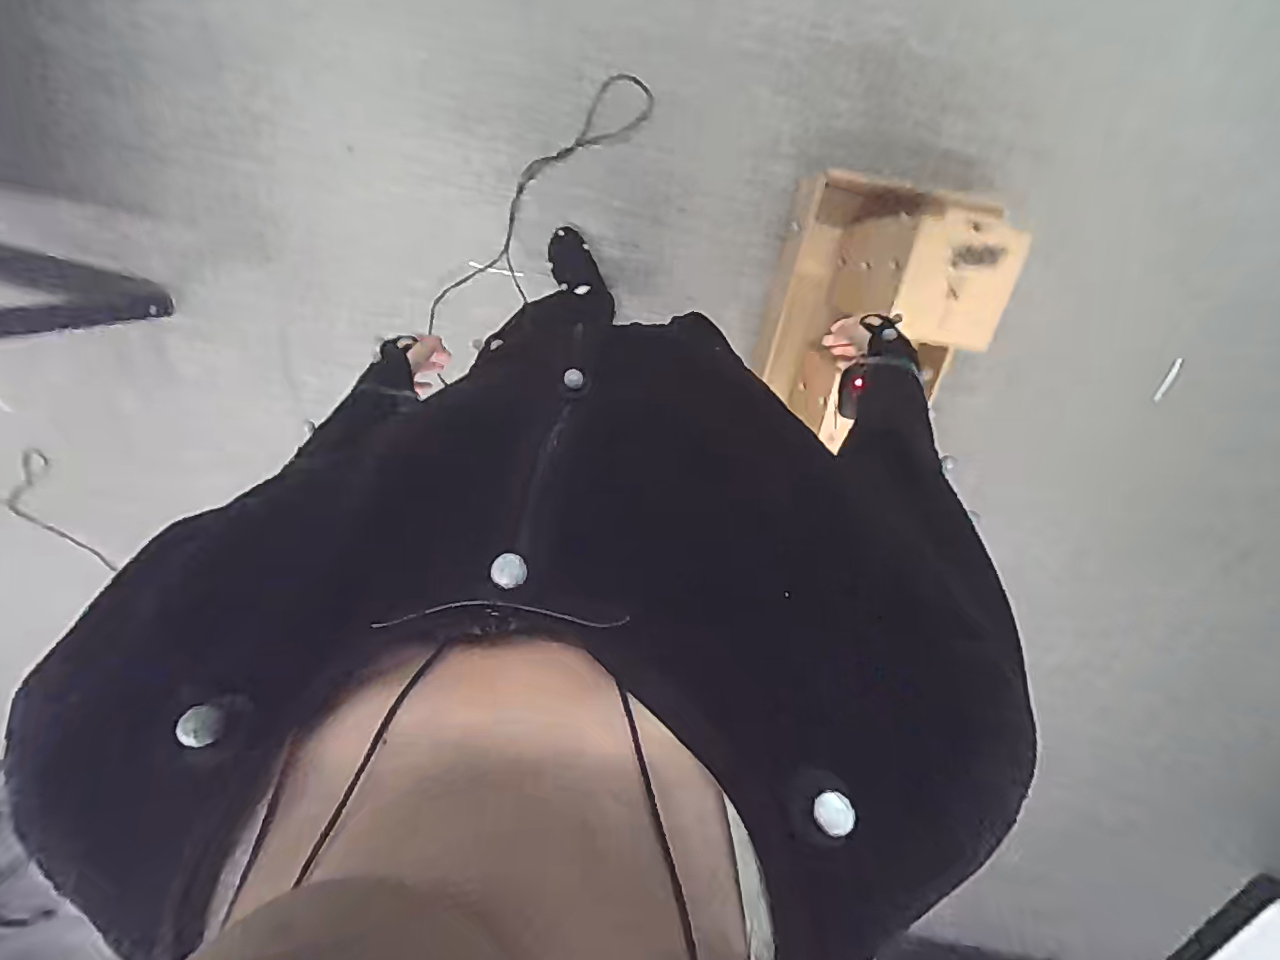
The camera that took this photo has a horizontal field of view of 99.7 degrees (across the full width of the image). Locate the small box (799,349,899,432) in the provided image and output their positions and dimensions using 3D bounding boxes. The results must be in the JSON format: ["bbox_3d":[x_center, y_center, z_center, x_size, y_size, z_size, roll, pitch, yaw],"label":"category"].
[{"bbox_3d":[0.495,-0.207,1.313,0.168,0.176,0.179,11,112,1],"label":"small box"}]

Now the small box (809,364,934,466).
[{"bbox_3d":[0.484,-0.145,1.161,0.179,0.176,0.168,10,112,1],"label":"small box"}]

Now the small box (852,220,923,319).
[{"bbox_3d":[0.531,-0.394,1.048,0.168,0.176,0.179,11,114,3],"label":"small box"}]

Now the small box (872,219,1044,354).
[{"bbox_3d":[0.510,-0.325,0.901,0.168,0.176,0.179,11,115,3],"label":"small box"}]

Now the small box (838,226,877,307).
[{"bbox_3d":[0.558,-0.457,1.196,0.179,0.176,0.168,9,115,1],"label":"small box"}]
